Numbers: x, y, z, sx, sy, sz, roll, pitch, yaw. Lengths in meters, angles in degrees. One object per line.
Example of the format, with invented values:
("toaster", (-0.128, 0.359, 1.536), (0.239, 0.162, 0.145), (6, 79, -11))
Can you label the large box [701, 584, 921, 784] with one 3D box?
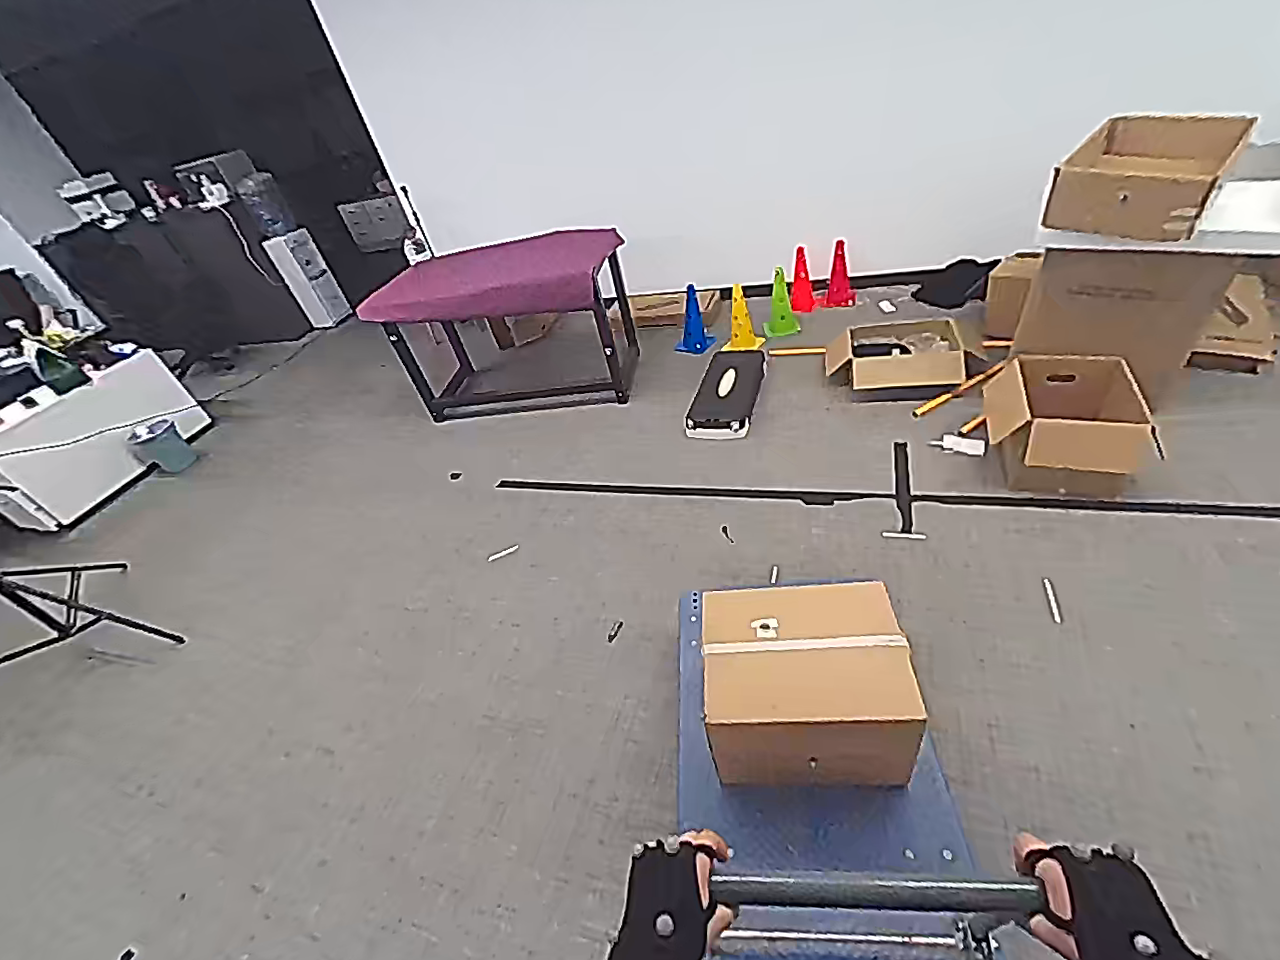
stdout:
("large box", (0.362, 0.468, 1.224), (0.408, 0.320, 0.320), (-7, 39, 11))
